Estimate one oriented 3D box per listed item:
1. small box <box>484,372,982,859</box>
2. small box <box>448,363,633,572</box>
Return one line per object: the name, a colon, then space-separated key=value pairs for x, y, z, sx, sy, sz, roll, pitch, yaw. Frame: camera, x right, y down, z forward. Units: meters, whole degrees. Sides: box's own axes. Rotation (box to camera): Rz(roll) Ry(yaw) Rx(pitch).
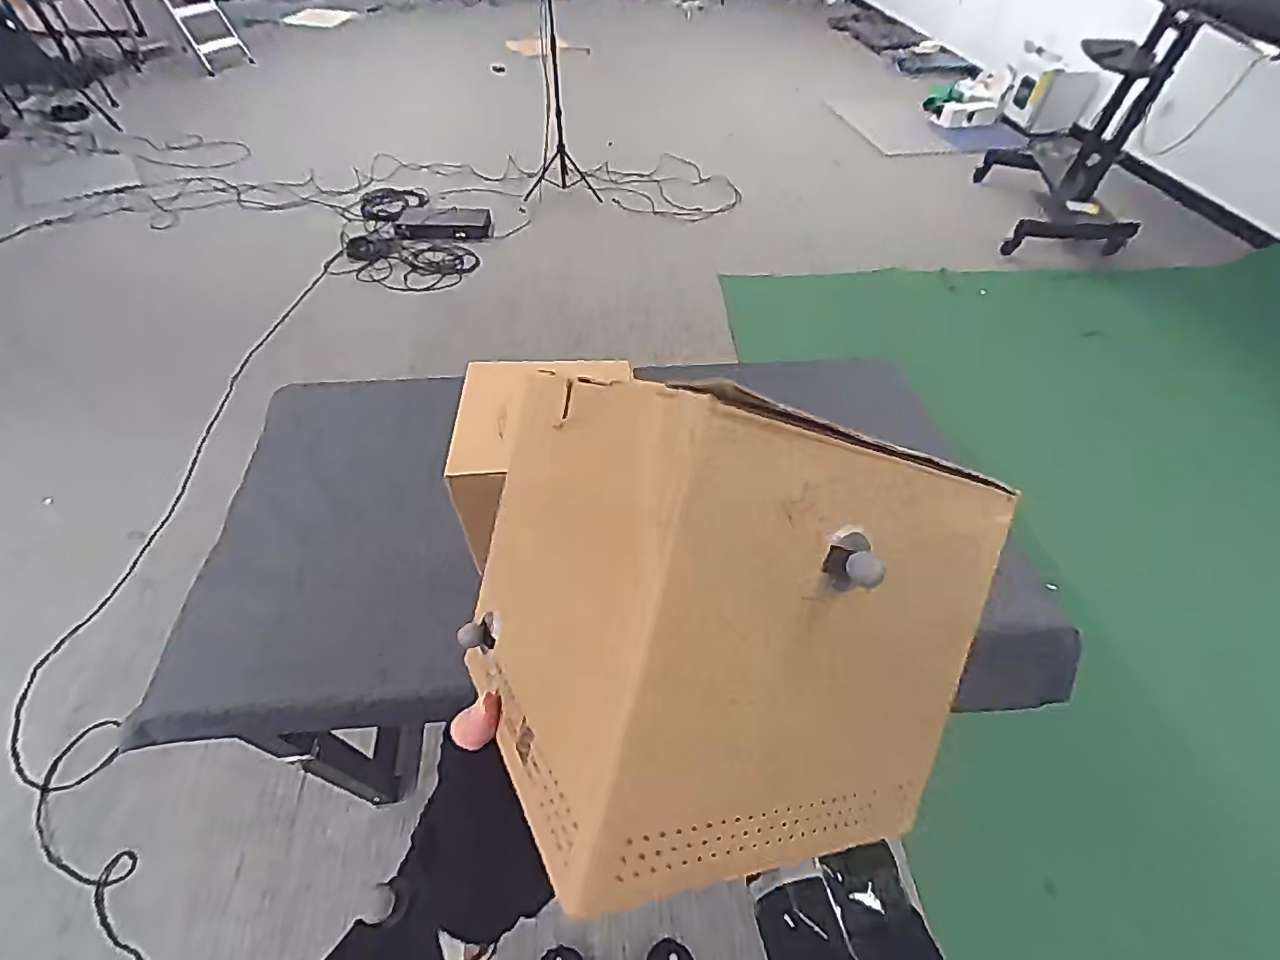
small box: x=0.029 y=0.051 z=0.279 sx=0.179 sy=0.176 sz=0.168 roll=10 pitch=8 yaw=-33
small box: x=-0.093 y=-0.011 z=0.600 sx=0.179 sy=0.176 sz=0.168 roll=-3 pitch=48 yaw=-4
